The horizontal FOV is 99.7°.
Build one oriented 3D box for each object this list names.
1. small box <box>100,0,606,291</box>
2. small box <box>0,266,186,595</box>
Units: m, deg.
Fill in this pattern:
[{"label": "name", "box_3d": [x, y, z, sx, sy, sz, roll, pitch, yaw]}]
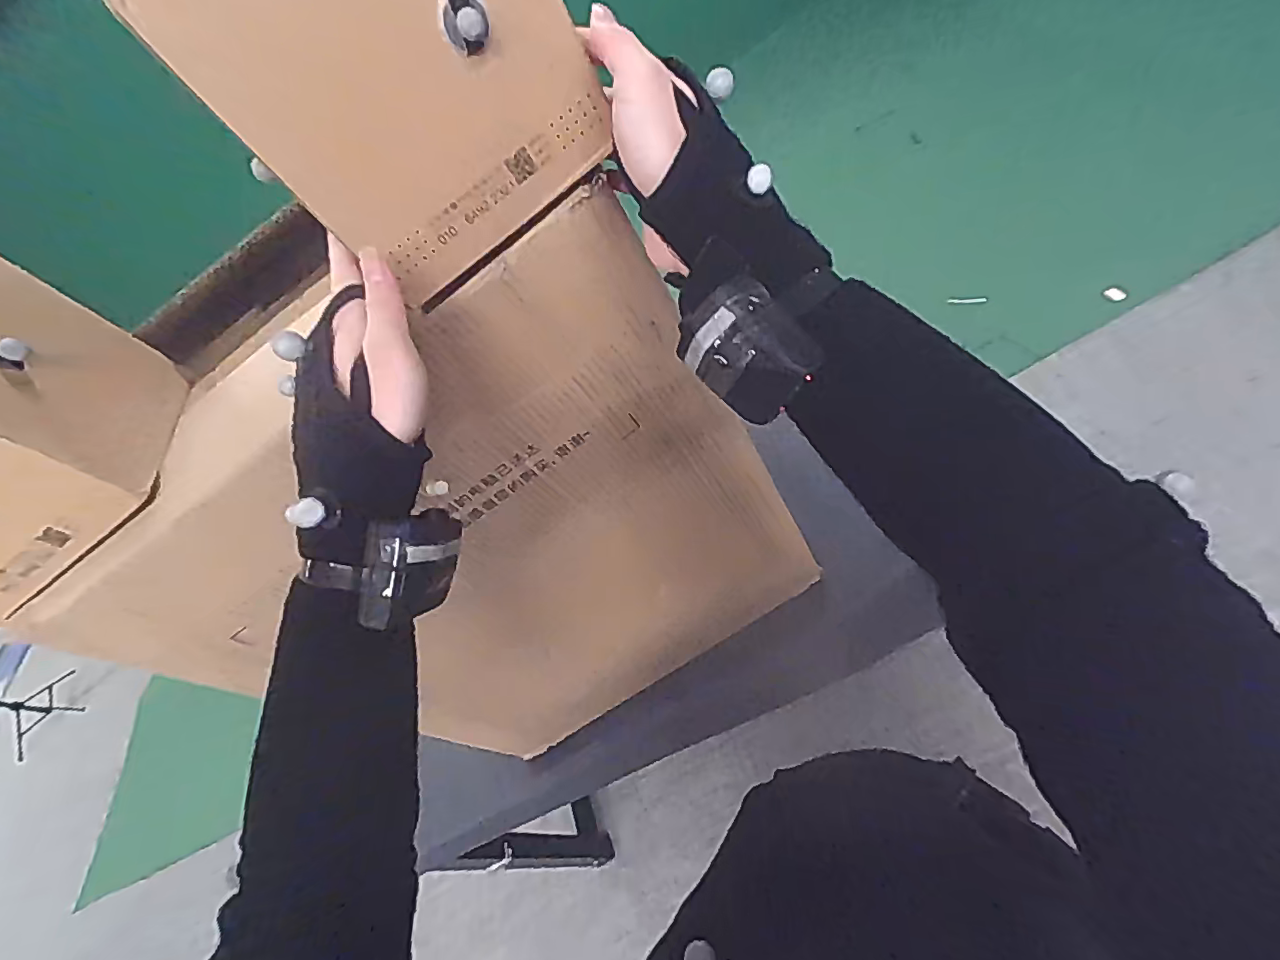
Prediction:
[{"label": "small box", "box_3d": [-0.145, -0.243, 0.320, 0.168, 0.176, 0.179, -36, 47, 2]}, {"label": "small box", "box_3d": [-0.473, -0.039, 0.382, 0.168, 0.176, 0.179, -36, 48, 7]}]
